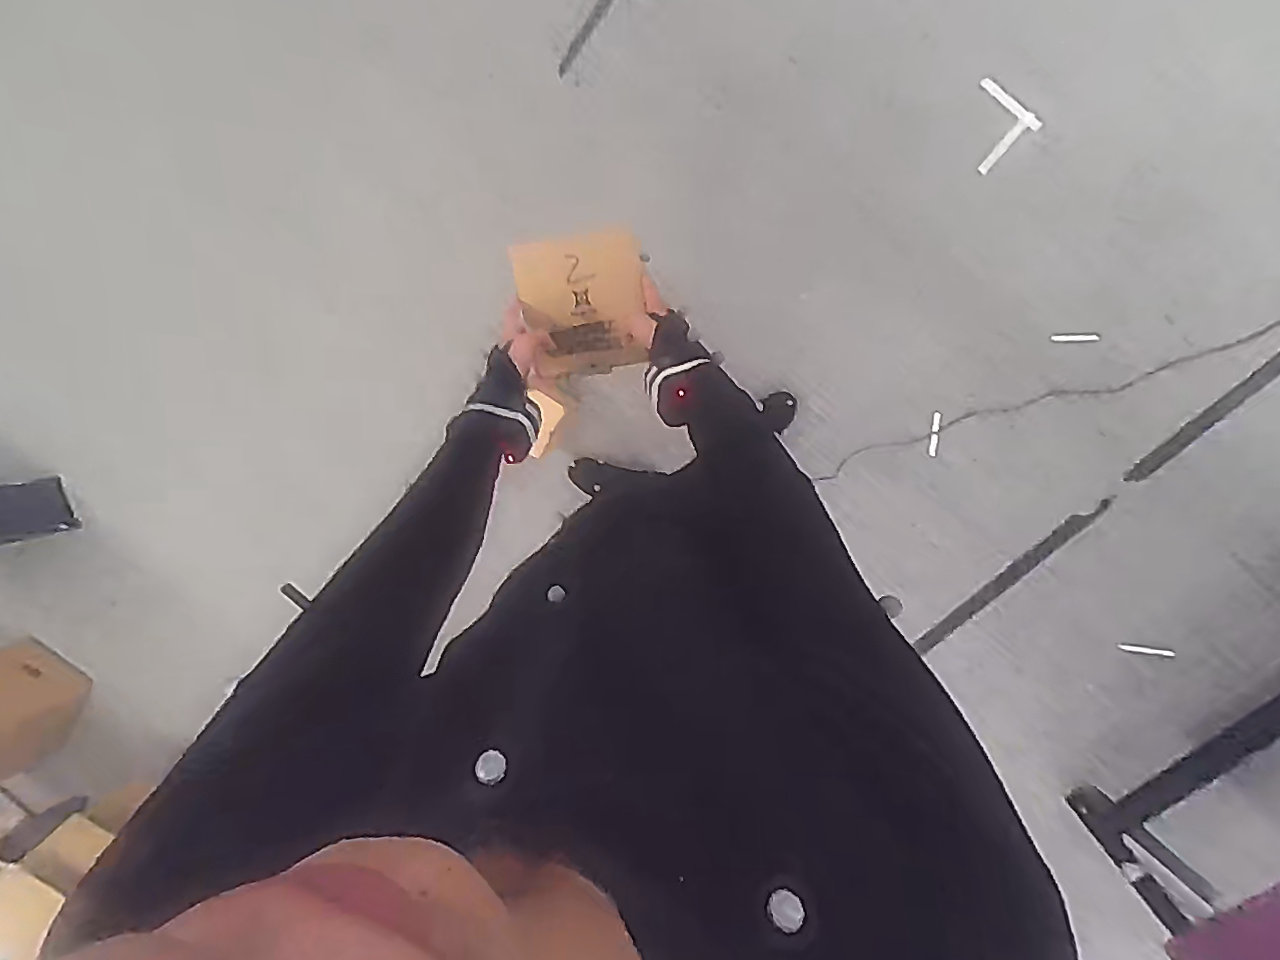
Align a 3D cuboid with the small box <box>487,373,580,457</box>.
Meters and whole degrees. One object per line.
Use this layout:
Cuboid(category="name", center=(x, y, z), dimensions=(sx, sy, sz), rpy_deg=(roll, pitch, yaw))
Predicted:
Cuboid(category="small box", center=(-0.295, -0.188, 1.531), dimensions=(0.179, 0.176, 0.168), rpy_deg=(32, 104, 0))
